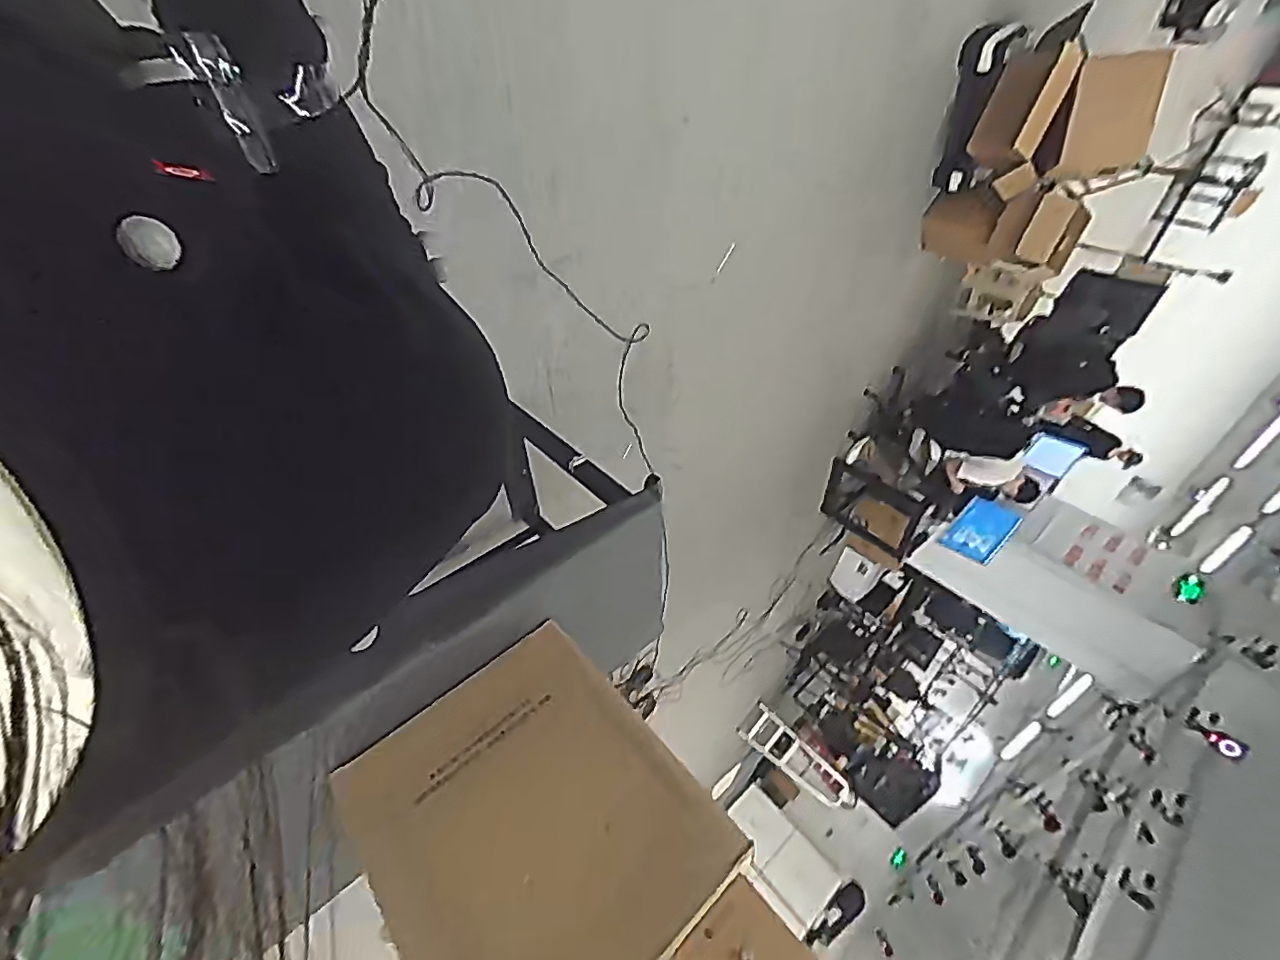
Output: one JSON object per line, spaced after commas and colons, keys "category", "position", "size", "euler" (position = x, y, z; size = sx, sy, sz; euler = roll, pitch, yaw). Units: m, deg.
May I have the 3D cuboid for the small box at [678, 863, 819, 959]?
{"category": "small box", "position": [0.178, 0.804, 0.923], "size": [0.168, 0.176, 0.179], "euler": [-35, 139, -27]}
